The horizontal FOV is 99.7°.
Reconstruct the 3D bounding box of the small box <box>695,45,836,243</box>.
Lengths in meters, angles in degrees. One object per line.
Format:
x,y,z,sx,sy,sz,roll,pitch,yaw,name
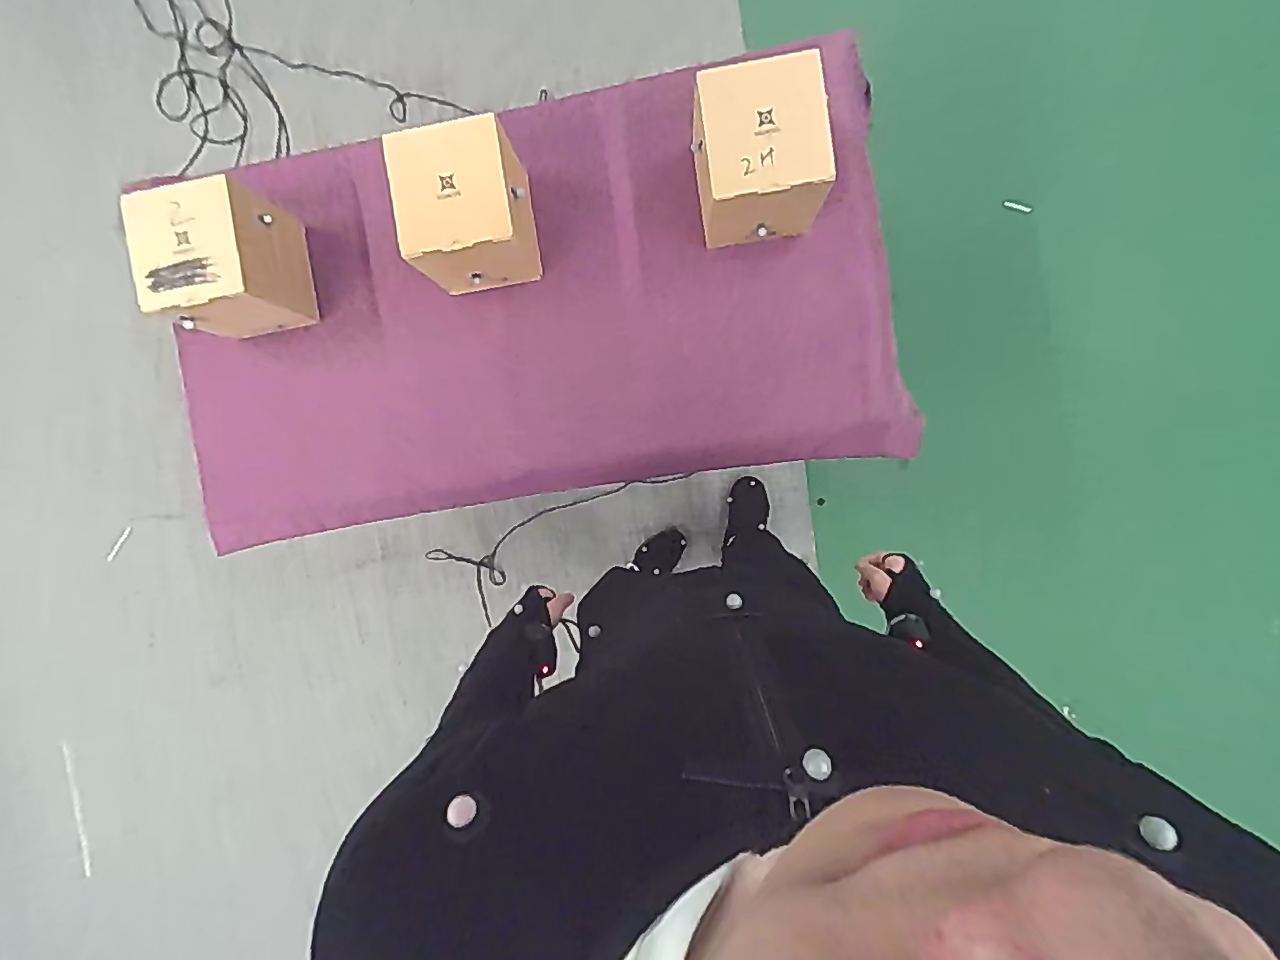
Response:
0.174,-0.479,0.796,0.168,0.176,0.179,-8,92,5,small box

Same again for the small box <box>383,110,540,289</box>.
-0.261,-0.415,0.827,0.168,0.176,0.179,-9,92,3,small box
